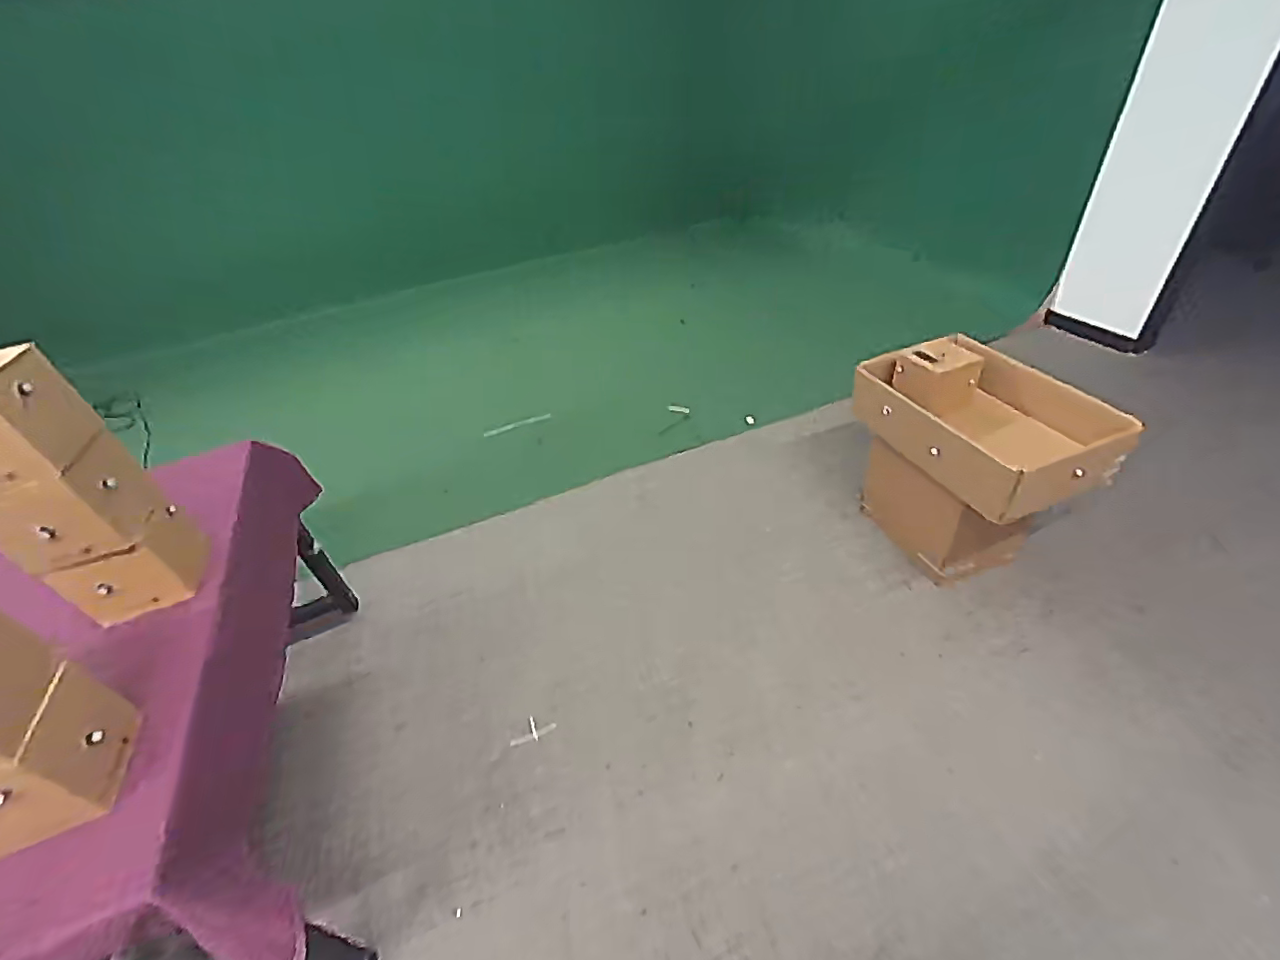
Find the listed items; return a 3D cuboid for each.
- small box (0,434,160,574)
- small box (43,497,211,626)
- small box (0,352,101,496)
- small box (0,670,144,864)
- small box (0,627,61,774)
[{"bbox_3d":[-1.038,0.049,0.987,0.168,0.176,0.179,-18,41,-10],"label":"small box"},{"bbox_3d":[-1.019,0.170,1.097,0.168,0.176,0.179,-21,40,-13],"label":"small box"},{"bbox_3d":[-1.062,-0.082,0.889,0.168,0.176,0.179,-18,39,-10],"label":"small box"},{"bbox_3d":[-0.878,0.413,0.774,0.179,0.176,0.168,-20,40,-12],"label":"small box"},{"bbox_3d":[-0.903,0.286,0.674,0.168,0.176,0.179,-20,40,-14],"label":"small box"}]
